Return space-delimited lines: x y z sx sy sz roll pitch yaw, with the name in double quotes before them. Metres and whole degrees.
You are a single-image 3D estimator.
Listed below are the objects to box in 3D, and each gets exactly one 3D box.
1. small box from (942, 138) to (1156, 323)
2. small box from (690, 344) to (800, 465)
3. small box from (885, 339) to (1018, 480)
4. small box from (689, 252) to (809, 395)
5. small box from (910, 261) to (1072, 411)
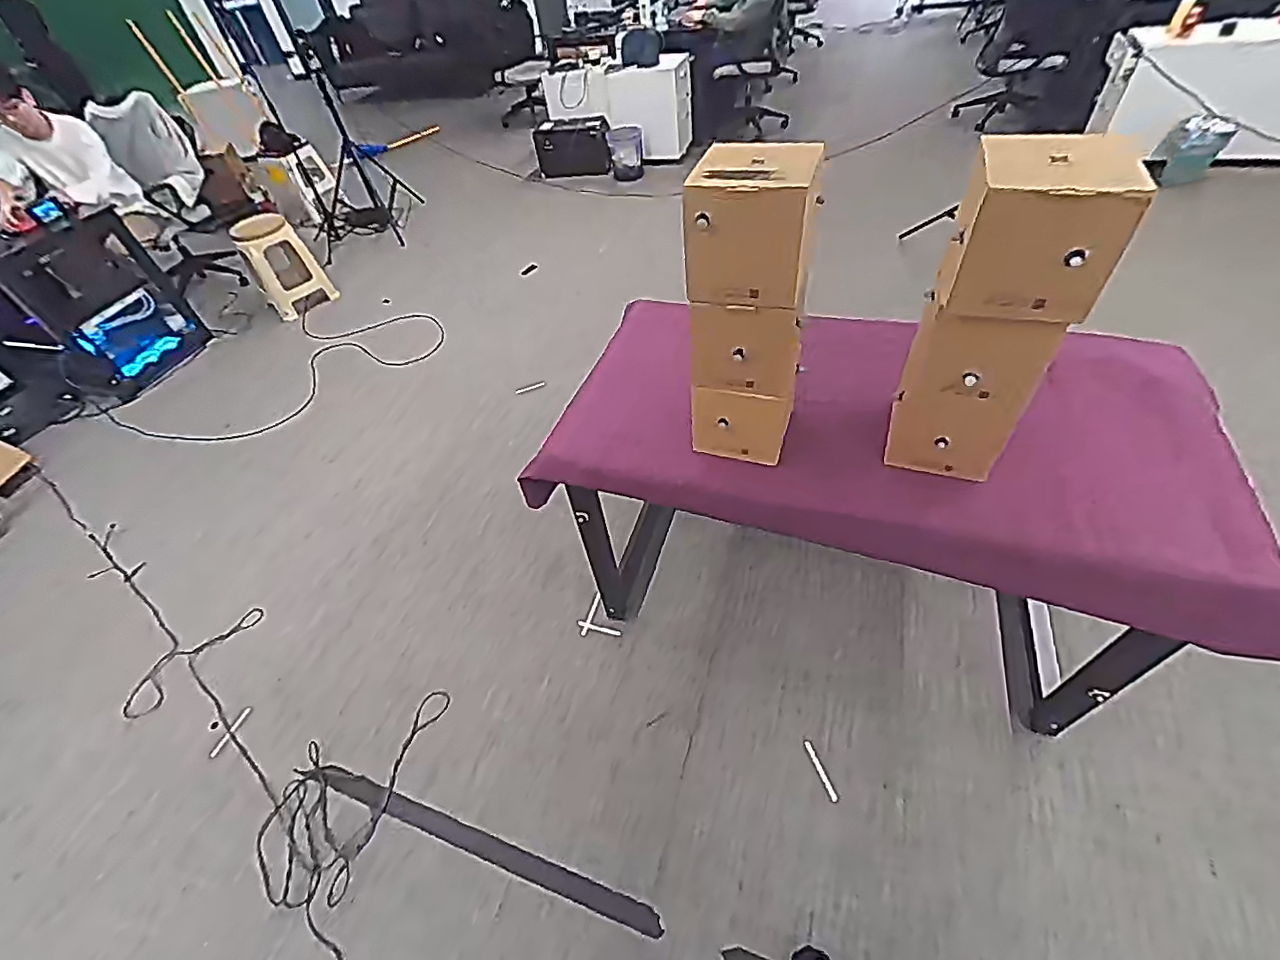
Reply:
"small box" 0.514 -0.327 0.712 0.168 0.176 0.179 11 50 16
"small box" 0.203 -0.153 1.043 0.168 0.176 0.179 12 50 18
"small box" 0.549 -0.125 0.967 0.168 0.176 0.179 14 51 19
"small box" 0.187 -0.267 0.926 0.168 0.176 0.179 10 50 16
"small box" 0.536 -0.236 0.847 0.168 0.176 0.179 13 52 19
